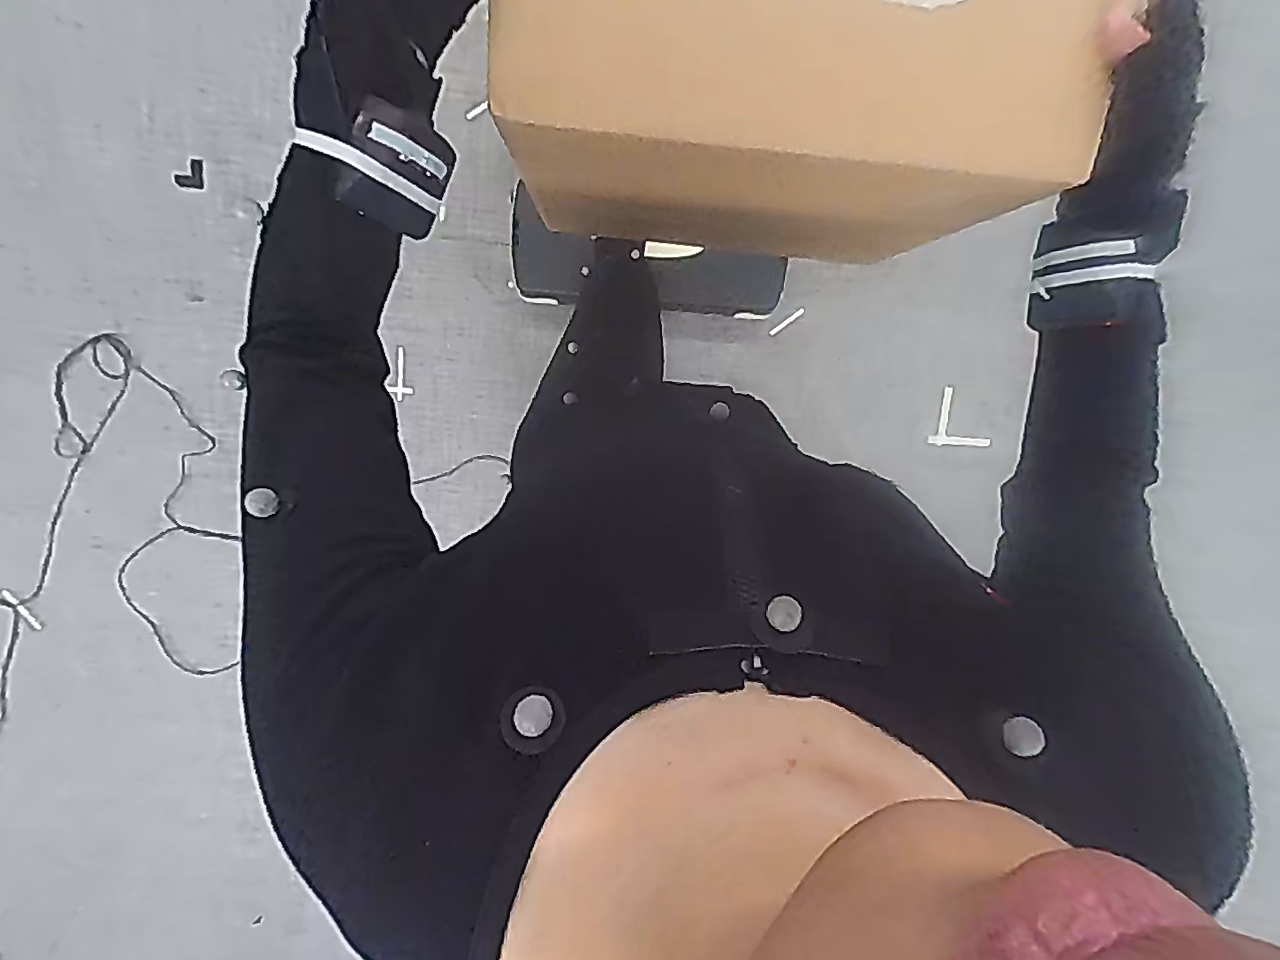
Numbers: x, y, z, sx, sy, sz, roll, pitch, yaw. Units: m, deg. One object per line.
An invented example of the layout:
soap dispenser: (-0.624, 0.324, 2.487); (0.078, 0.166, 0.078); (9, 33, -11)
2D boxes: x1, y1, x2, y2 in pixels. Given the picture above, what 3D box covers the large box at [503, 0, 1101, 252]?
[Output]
large box: (0.105, -0.412, 0.485); (0.408, 0.320, 0.320); (4, 102, -4)
